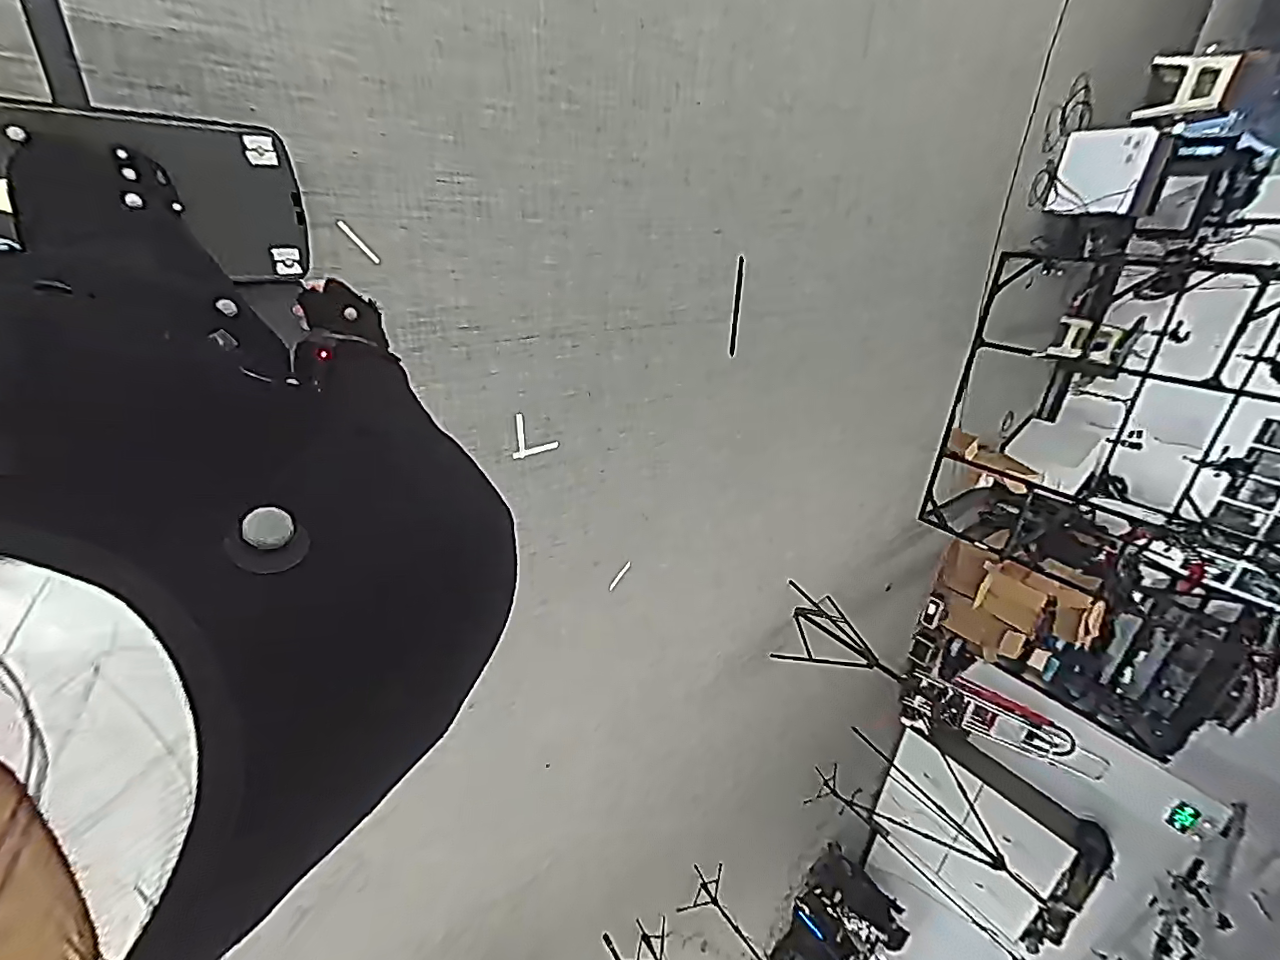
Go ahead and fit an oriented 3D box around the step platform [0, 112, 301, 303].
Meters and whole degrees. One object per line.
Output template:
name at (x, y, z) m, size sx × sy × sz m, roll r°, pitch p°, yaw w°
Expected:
step platform at (-1.013, -0.482, 0.967) m, size 0.684 × 0.204 × 0.286 m, roll -18°, pitch 124°, yaw -35°
